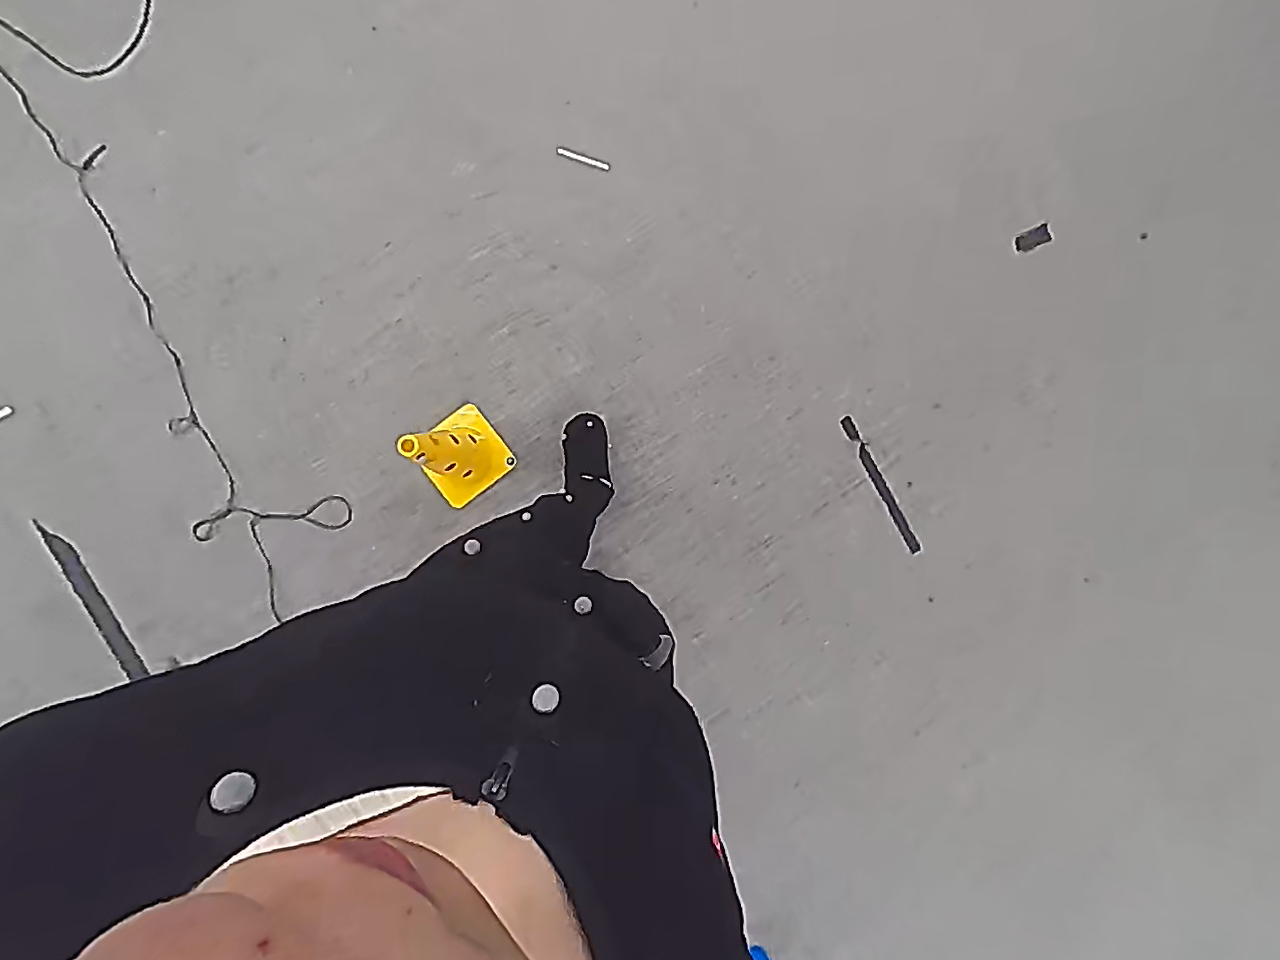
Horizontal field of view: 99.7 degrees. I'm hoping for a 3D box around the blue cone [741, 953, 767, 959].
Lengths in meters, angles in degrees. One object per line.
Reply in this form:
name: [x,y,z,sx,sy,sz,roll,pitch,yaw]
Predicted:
blue cone: [0.278,1.307,1.194,0.192,0.380,0.193,-30,91,-3]
